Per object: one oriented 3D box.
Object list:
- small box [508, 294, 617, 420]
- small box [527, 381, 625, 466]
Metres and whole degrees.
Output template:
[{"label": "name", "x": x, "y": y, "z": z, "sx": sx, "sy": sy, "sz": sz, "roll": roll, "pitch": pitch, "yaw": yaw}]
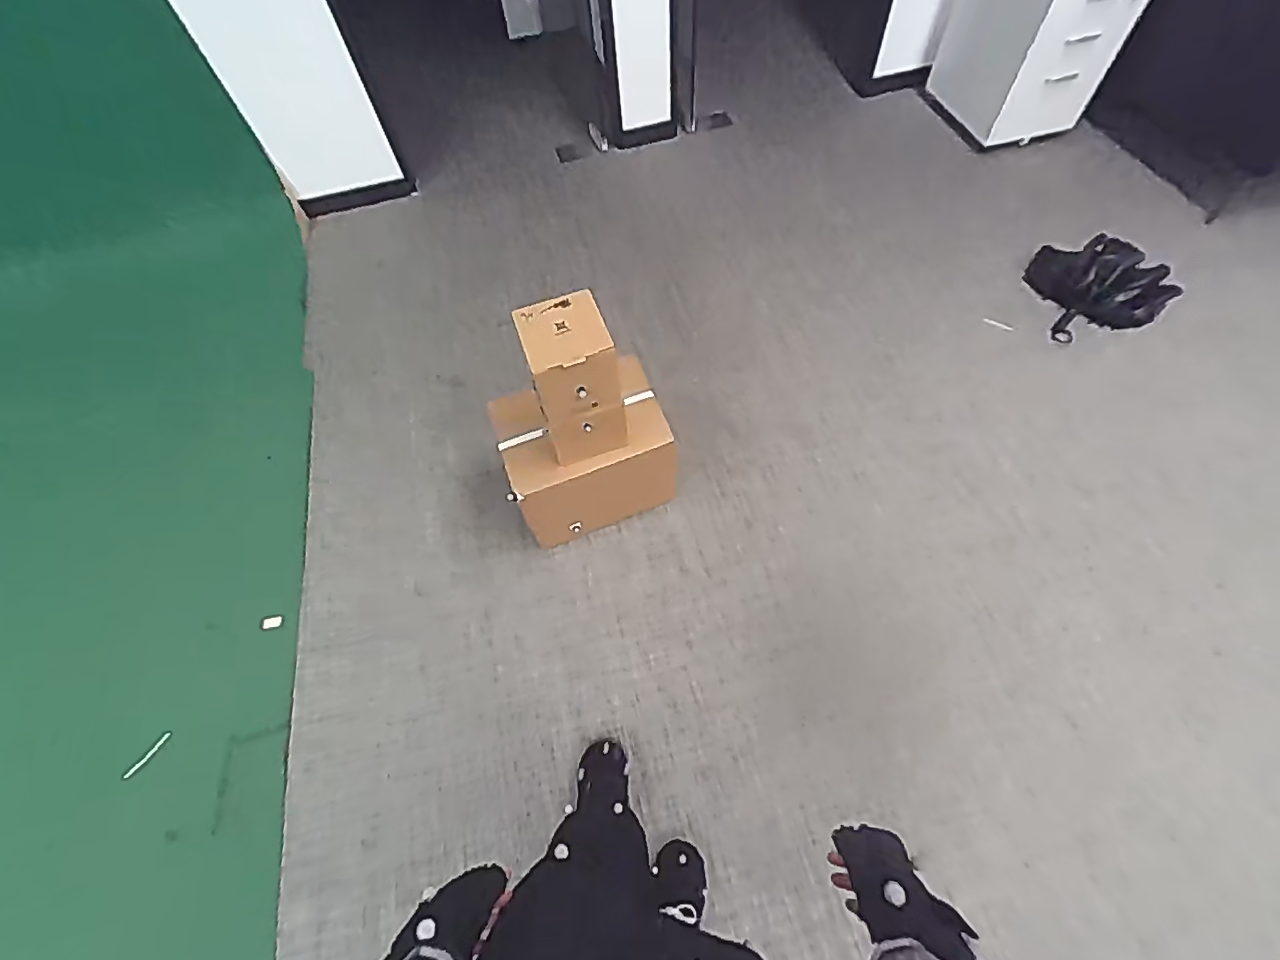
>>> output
[{"label": "small box", "x": -0.154, "y": -0.243, "z": 1.114, "sx": 0.168, "sy": 0.176, "sz": 0.179, "roll": -19, "pitch": 62, "yaw": -7}, {"label": "small box", "x": -0.144, "y": -0.157, "z": 1.252, "sx": 0.179, "sy": 0.176, "sz": 0.168, "roll": -18, "pitch": 62, "yaw": -8}]
